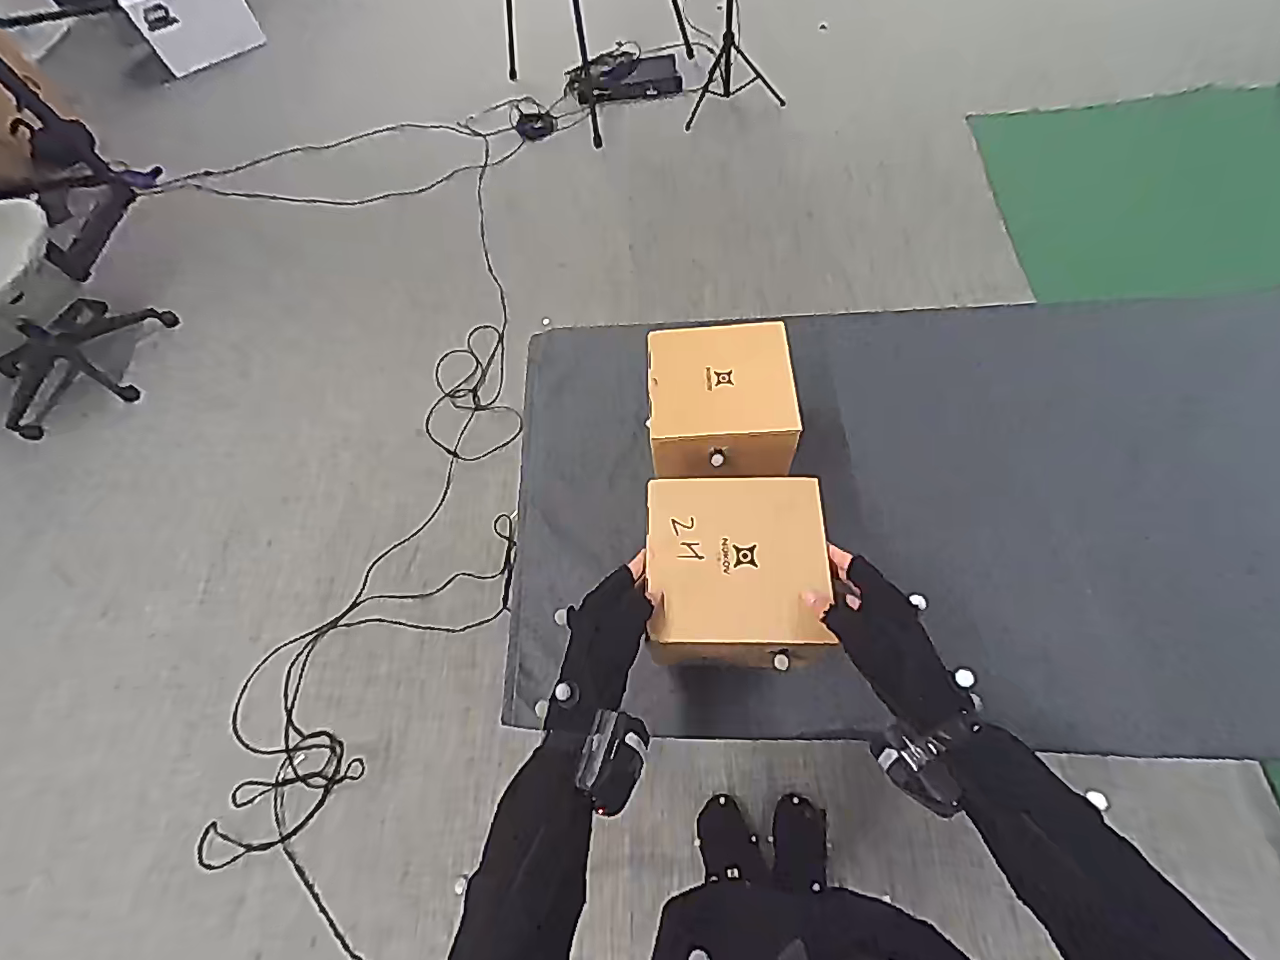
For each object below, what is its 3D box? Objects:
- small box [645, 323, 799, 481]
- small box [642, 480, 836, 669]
[{"bbox_3d":[0.102,-0.084,0.724,0.179,0.176,0.168,-4,63,6],"label":"small box"},{"bbox_3d":[0.096,0.109,0.590,0.179,0.176,0.168,-1,64,5],"label":"small box"}]
